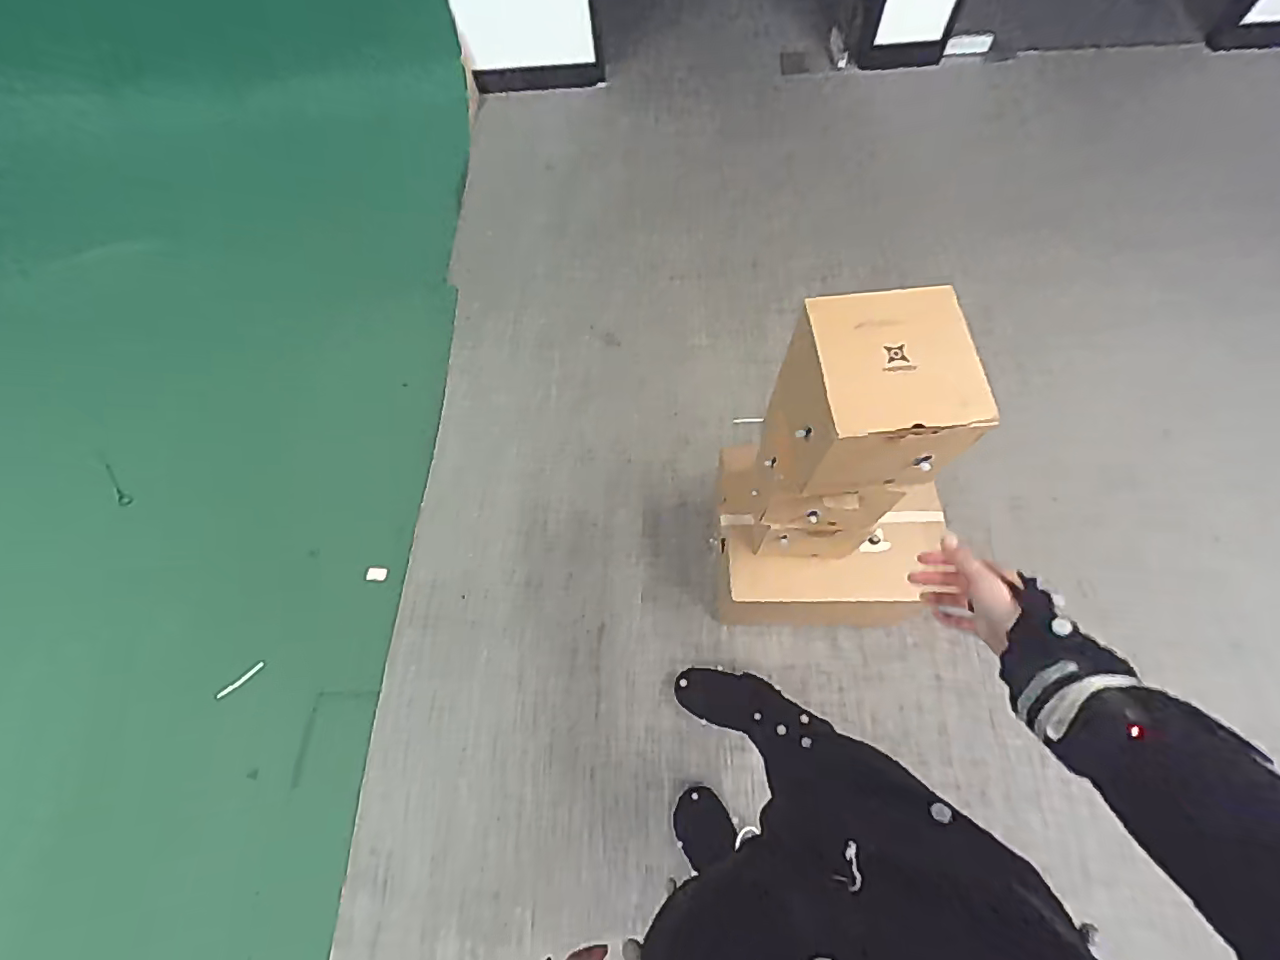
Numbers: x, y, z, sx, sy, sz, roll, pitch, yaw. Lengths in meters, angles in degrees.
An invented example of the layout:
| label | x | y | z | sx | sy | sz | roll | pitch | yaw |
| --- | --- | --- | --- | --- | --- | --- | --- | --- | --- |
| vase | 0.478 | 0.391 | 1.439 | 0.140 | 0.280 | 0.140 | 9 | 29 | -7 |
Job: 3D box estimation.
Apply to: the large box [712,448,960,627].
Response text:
| label | x | y | z | sx | sy | sz | roll | pitch | yaw |
| --- | --- | --- | --- | --- | --- | --- | --- | --- | --- |
| large box | 0.372 | 0.133 | 1.151 | 0.408 | 0.320 | 0.320 | -1 | 68 | 2 |

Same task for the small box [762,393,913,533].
| label | x | y | z | sx | sy | sz | roll | pitch | yaw |
| --- | --- | --- | --- | --- | --- | --- | --- | --- | --- |
| small box | 0.274 | -0.036 | 0.787 | 0.168 | 0.176 | 0.179 | 4 | 68 | 5 |

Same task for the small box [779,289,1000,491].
| label | x | y | z | sx | sy | sz | roll | pitch | yaw |
| --- | --- | --- | --- | --- | --- | --- | --- | --- | --- |
| small box | 0.271 | -0.093 | 0.635 | 0.168 | 0.176 | 0.179 | -5 | 67 | 0 |
